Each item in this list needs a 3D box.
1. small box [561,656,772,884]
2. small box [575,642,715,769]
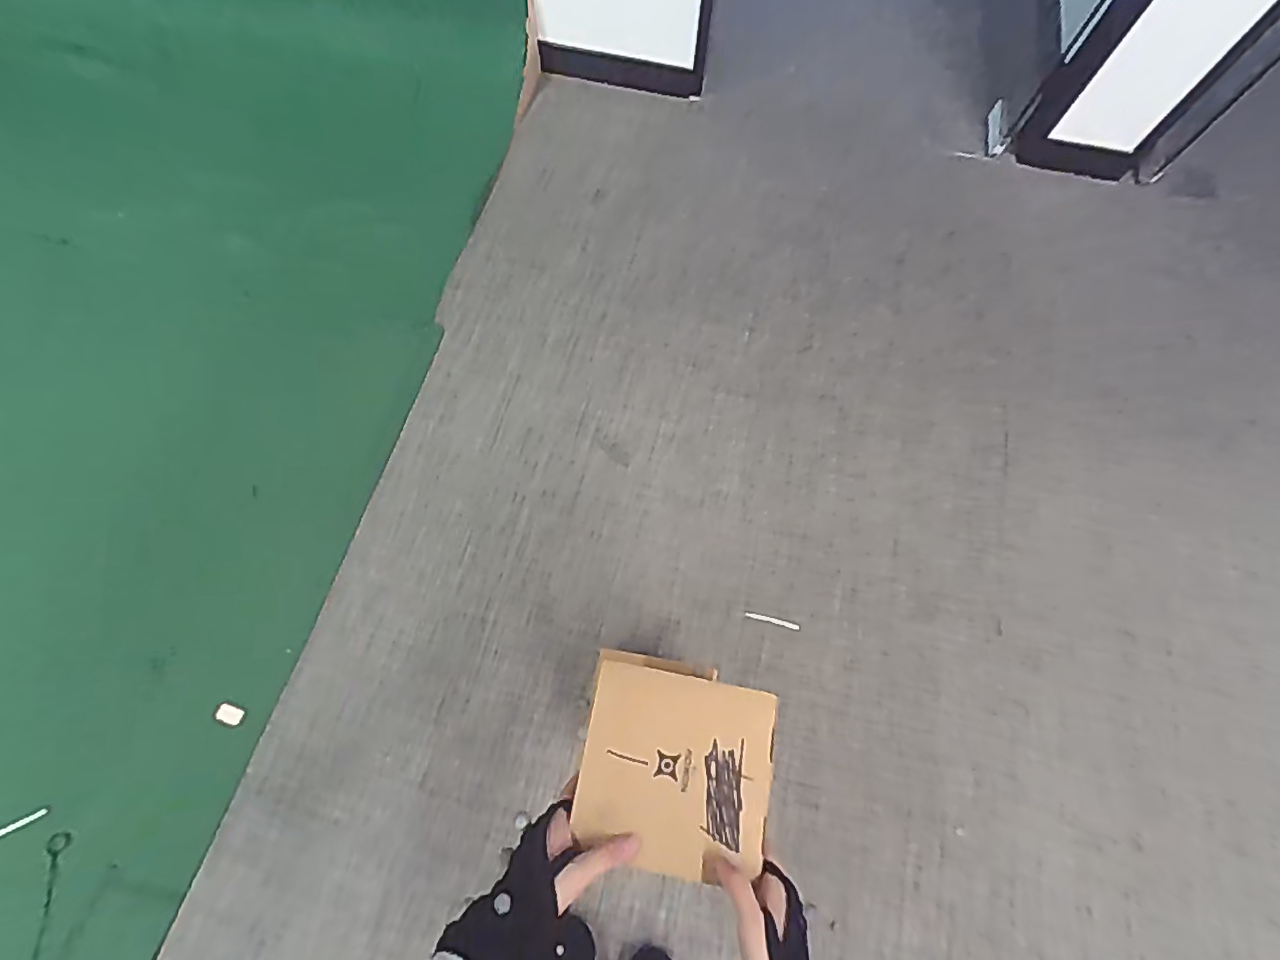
[{"bbox_3d":[0.029,0.293,0.581,0.179,0.176,0.168,10,69,4],"label":"small box"},{"bbox_3d":[0.008,0.347,0.799,0.168,0.176,0.179,10,71,3],"label":"small box"}]
